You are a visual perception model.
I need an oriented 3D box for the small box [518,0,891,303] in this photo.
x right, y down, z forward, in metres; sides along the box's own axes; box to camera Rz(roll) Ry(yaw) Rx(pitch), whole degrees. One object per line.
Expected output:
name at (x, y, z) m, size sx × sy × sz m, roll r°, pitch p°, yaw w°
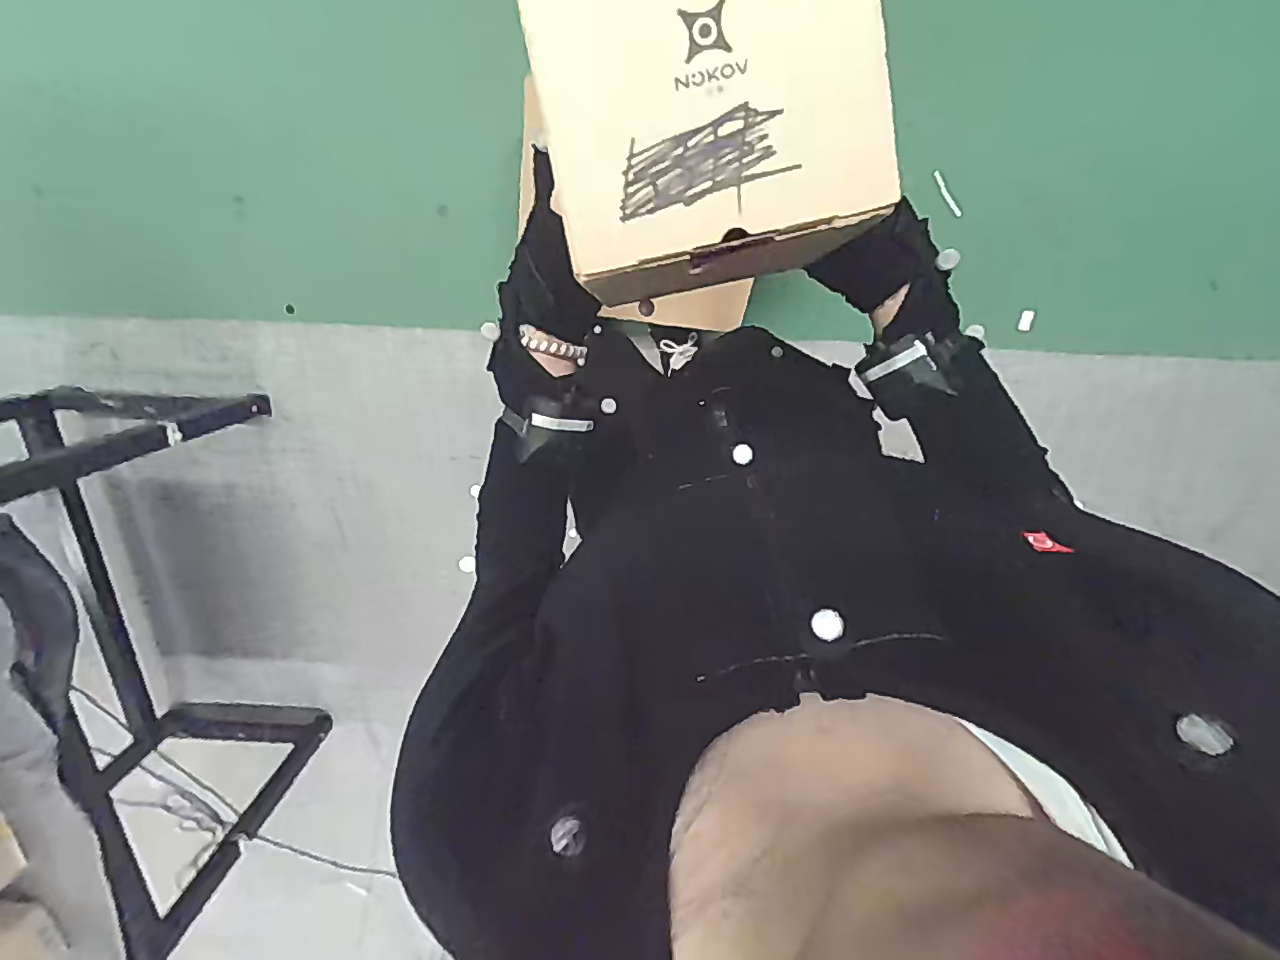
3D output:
small box at (0.034, -0.215, 0.337) m, size 0.168 × 0.176 × 0.179 m, roll -11°, pitch 101°, yaw 4°
